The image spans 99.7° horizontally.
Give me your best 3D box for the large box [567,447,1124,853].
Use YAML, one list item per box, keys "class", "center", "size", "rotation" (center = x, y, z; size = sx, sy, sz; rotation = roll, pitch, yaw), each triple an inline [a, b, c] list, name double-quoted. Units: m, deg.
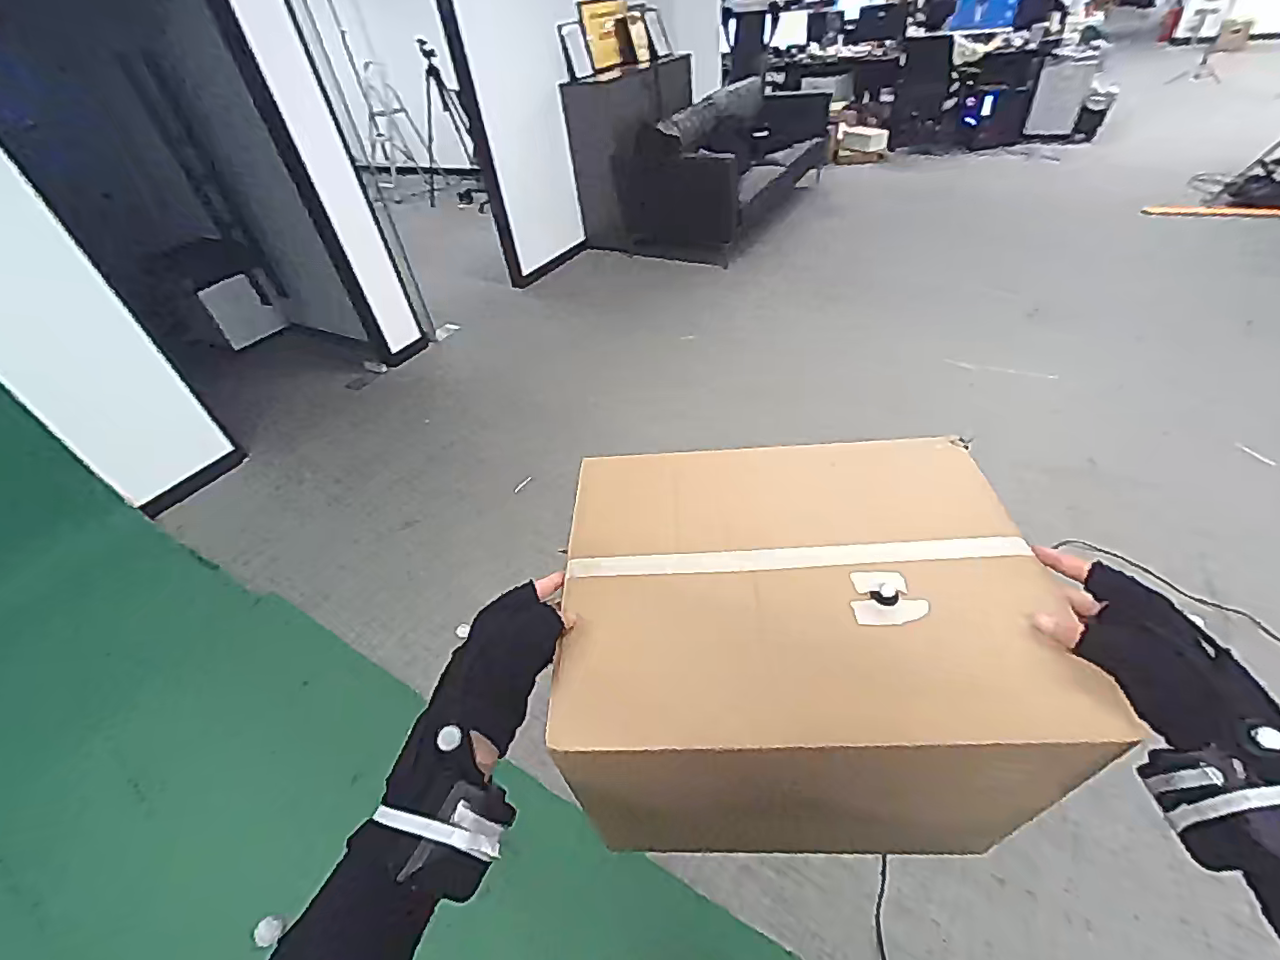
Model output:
- class: "large box"
  center: [0.153, 0.188, 0.594]
  size: [0.408, 0.320, 0.320]
  rotation: [-3, 44, 4]
